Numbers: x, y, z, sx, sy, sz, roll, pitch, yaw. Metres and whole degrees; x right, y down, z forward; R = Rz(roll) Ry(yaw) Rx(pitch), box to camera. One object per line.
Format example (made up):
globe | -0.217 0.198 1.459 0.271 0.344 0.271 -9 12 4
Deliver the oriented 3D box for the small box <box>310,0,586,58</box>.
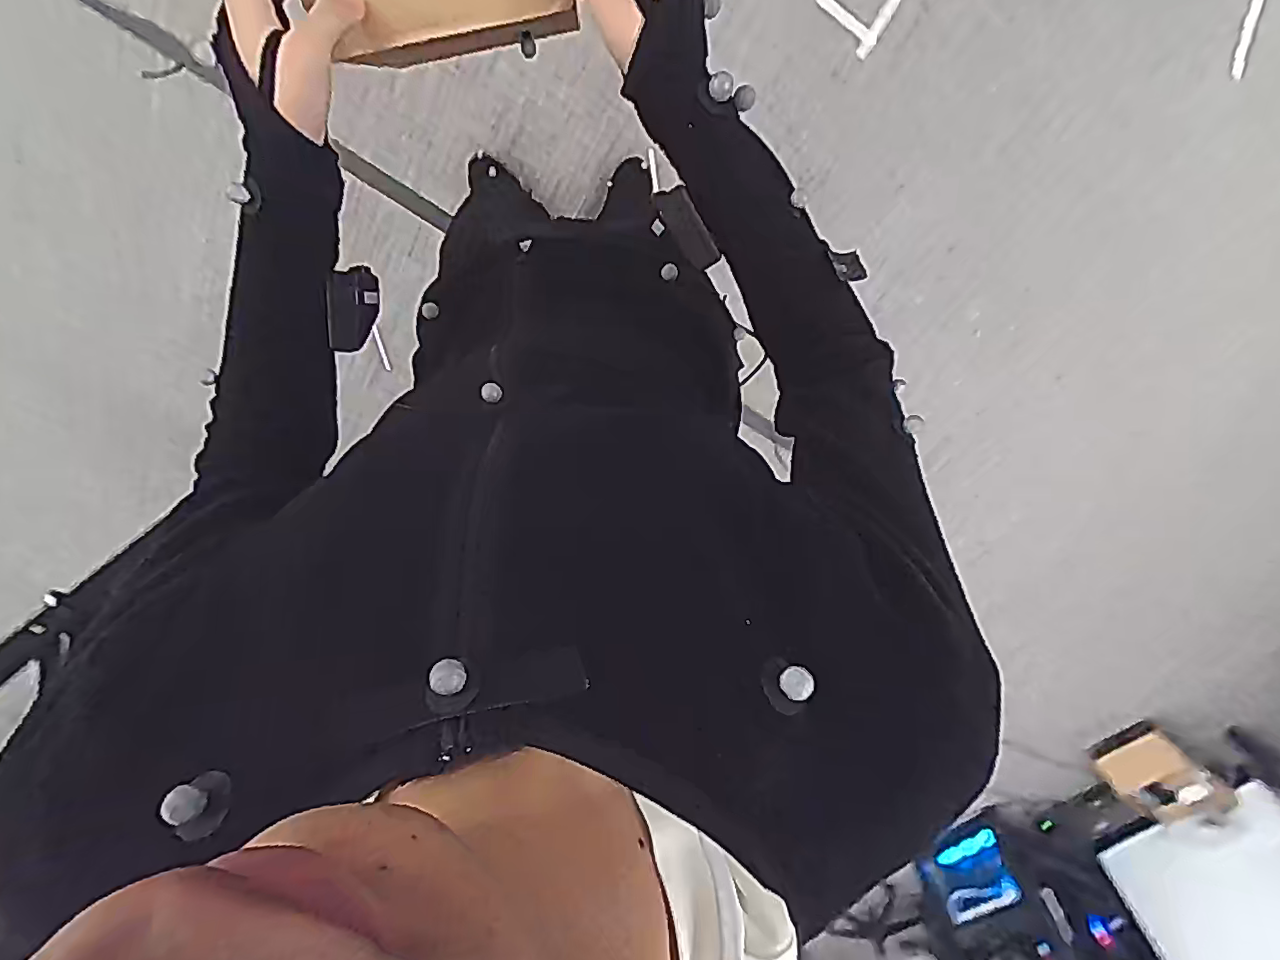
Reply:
small box | -0.138 -0.409 0.371 0.179 0.176 0.168 -9 125 2
